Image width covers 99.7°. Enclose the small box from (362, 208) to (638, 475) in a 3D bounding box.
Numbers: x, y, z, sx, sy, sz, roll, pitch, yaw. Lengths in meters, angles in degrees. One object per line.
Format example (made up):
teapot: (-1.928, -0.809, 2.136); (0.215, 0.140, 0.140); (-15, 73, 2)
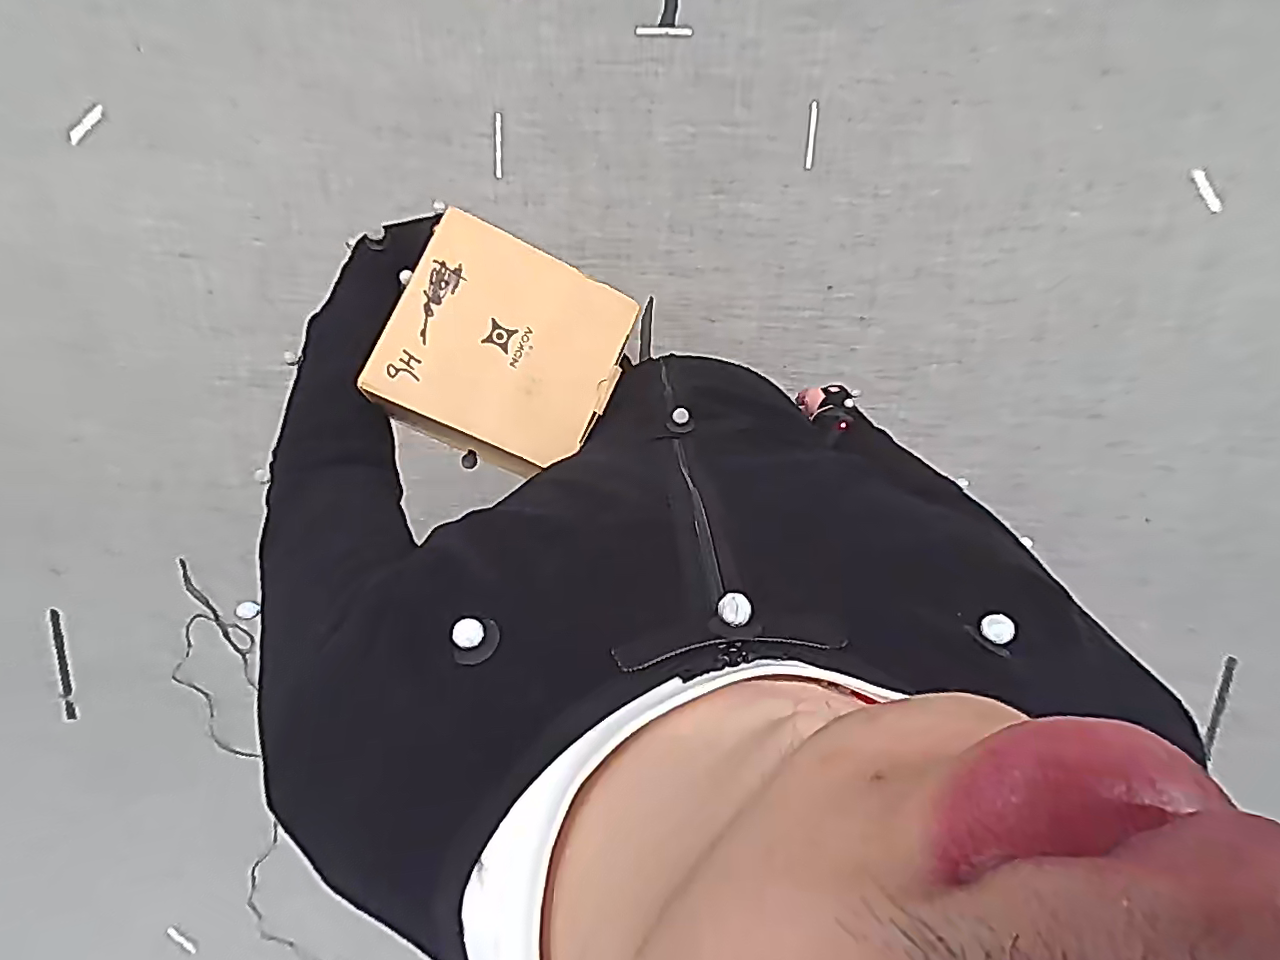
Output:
small box: (-0.128, -0.110, 0.520); (0.179, 0.176, 0.168); (24, 80, -13)
